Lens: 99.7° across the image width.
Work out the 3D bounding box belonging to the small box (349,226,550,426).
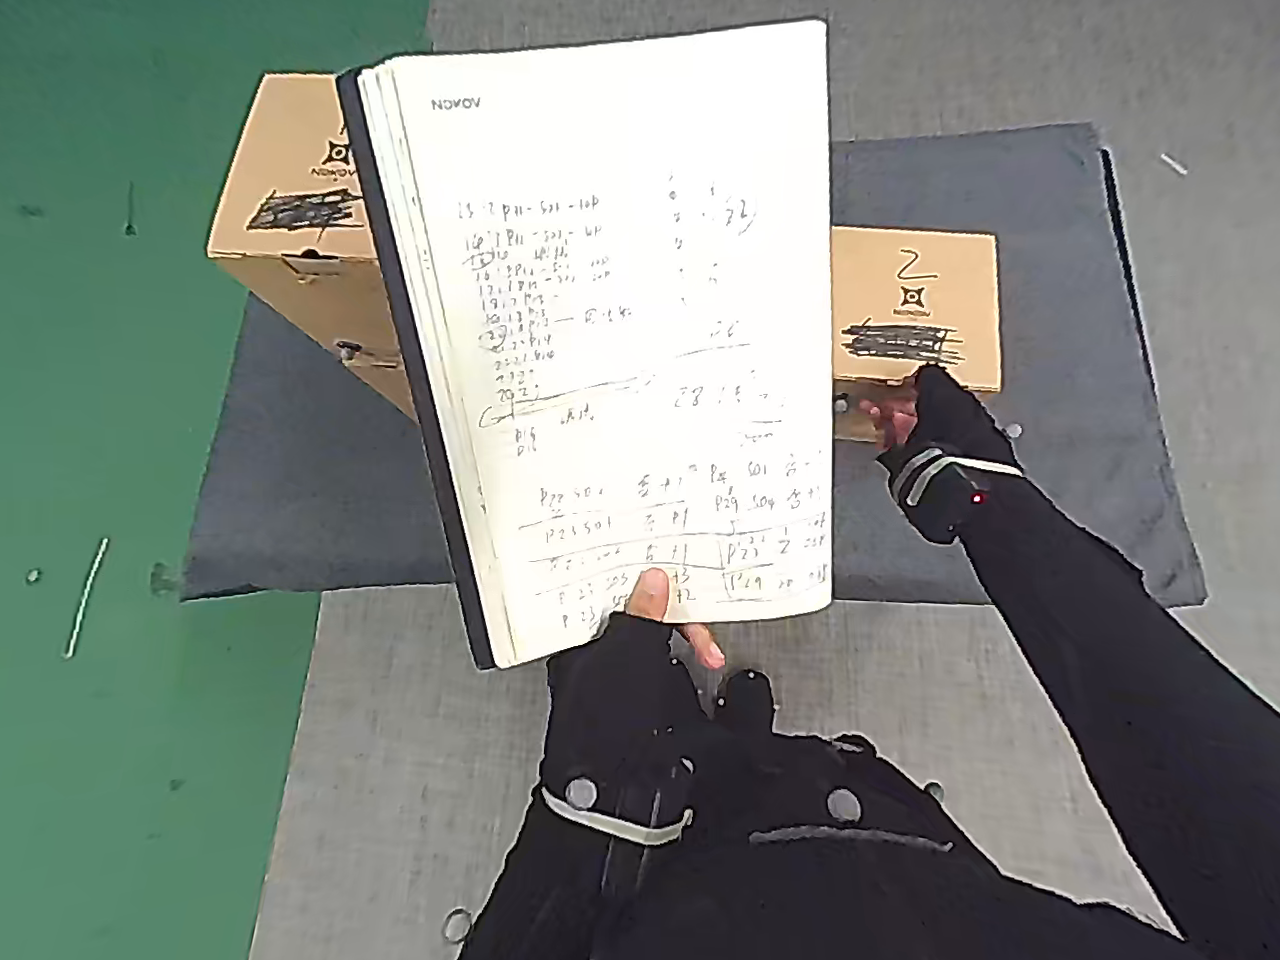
[{"bbox_3d":[-0.212,-0.181,0.656,0.168,0.176,0.179,3,75,5],"label":"small box"}]

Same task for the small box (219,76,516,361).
[{"bbox_3d":[-0.225,-0.226,0.499,0.168,0.176,0.179,5,74,5],"label":"small box"}]
